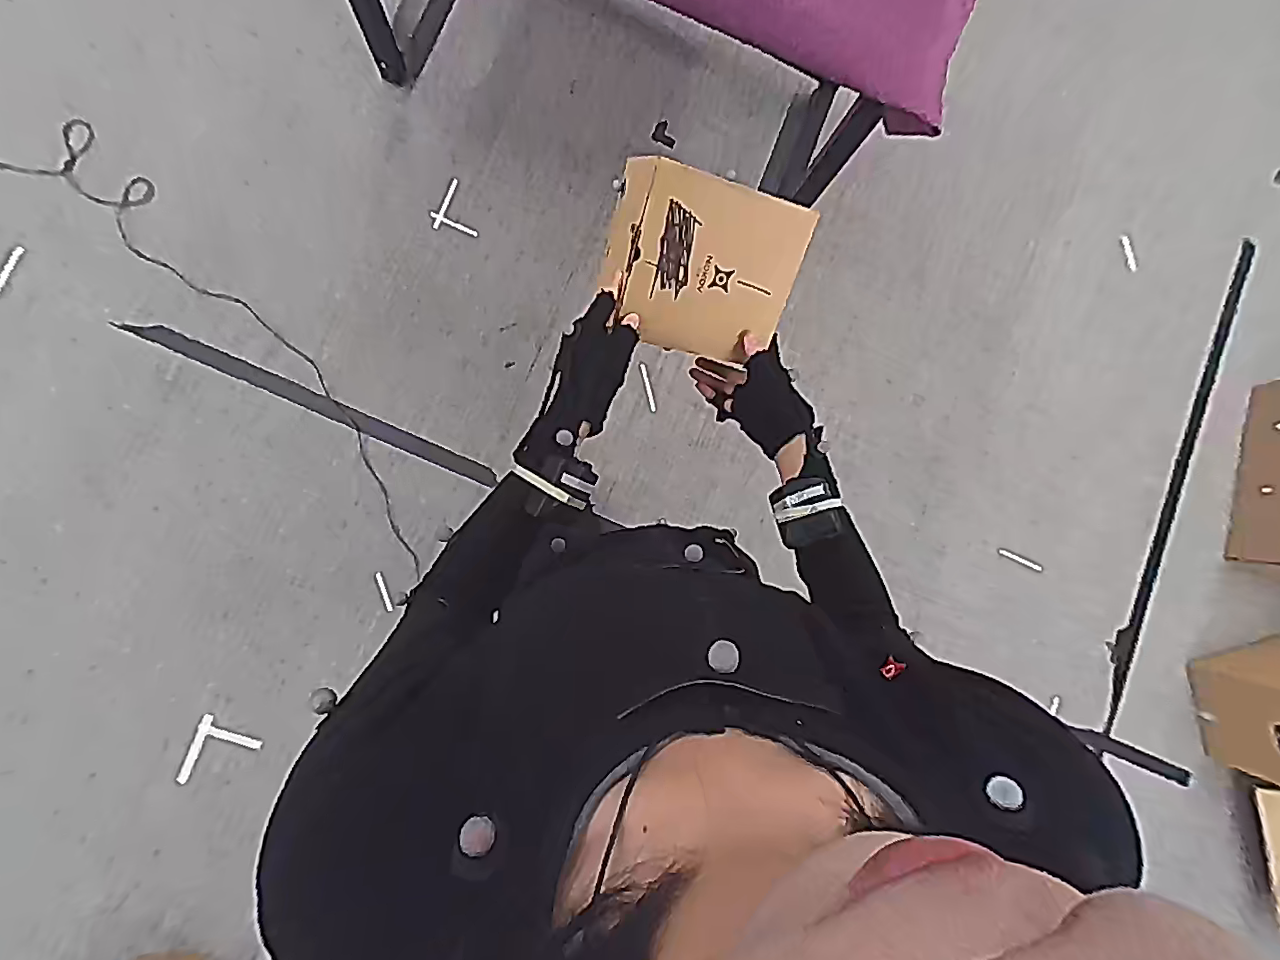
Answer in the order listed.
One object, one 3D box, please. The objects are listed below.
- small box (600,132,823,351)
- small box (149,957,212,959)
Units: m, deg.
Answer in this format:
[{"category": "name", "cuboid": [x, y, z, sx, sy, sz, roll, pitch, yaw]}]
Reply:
[{"category": "small box", "cuboid": [0.061, -0.262, 0.601, 0.179, 0.176, 0.168, 9, 118, -16]}, {"category": "small box", "cuboid": [-1.132, 1.246, 1.239, 0.179, 0.176, 0.168, 4, 87, -8]}]
